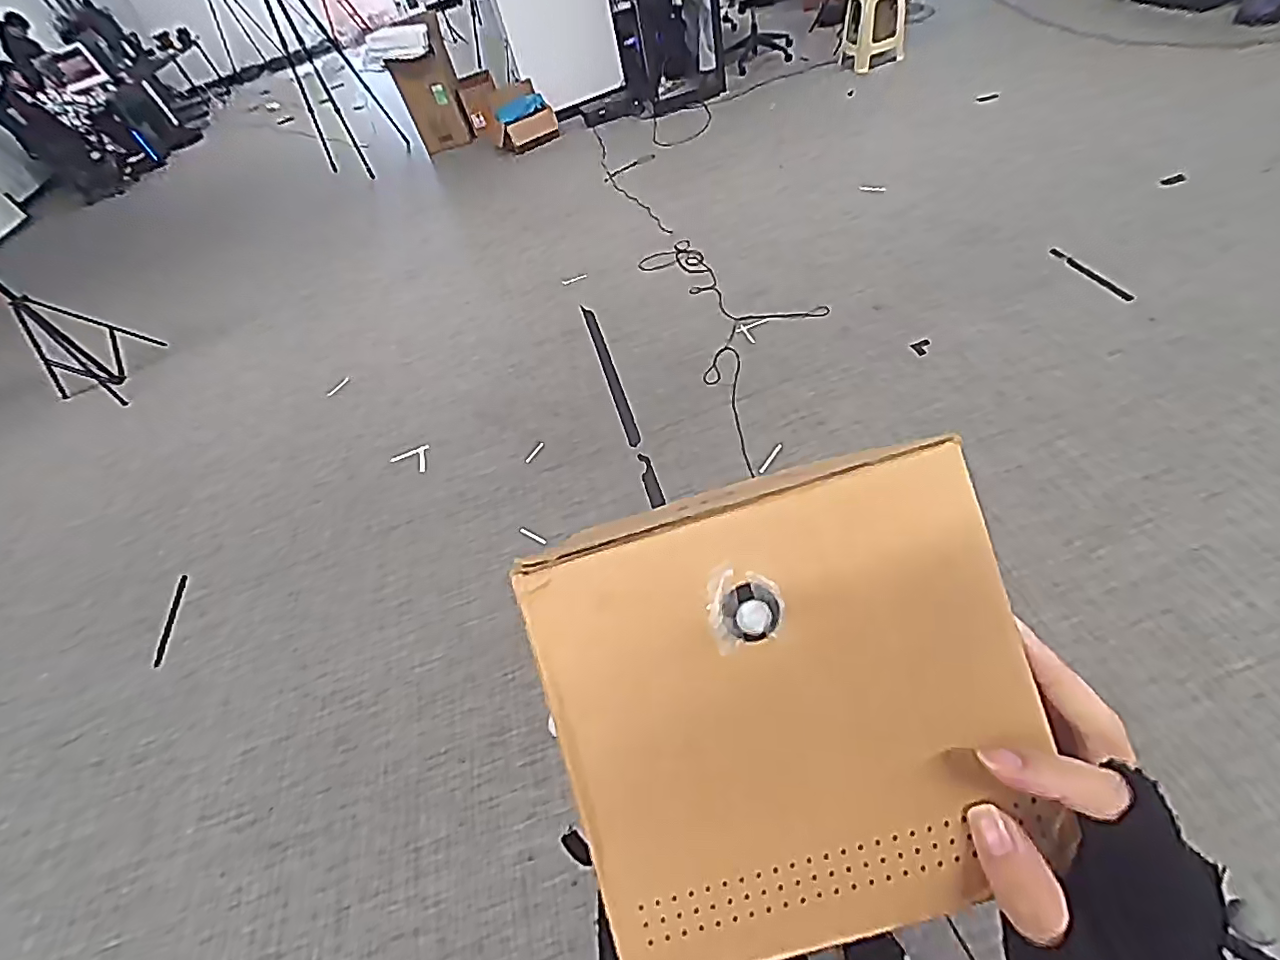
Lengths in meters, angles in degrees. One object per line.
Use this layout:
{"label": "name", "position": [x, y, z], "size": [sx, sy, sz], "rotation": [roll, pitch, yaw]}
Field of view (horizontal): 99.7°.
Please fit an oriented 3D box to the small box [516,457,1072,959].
{"label": "small box", "position": [0.062, 0.098, 0.278], "size": [0.179, 0.168, 0.176], "rotation": [-17, 88, 2]}
